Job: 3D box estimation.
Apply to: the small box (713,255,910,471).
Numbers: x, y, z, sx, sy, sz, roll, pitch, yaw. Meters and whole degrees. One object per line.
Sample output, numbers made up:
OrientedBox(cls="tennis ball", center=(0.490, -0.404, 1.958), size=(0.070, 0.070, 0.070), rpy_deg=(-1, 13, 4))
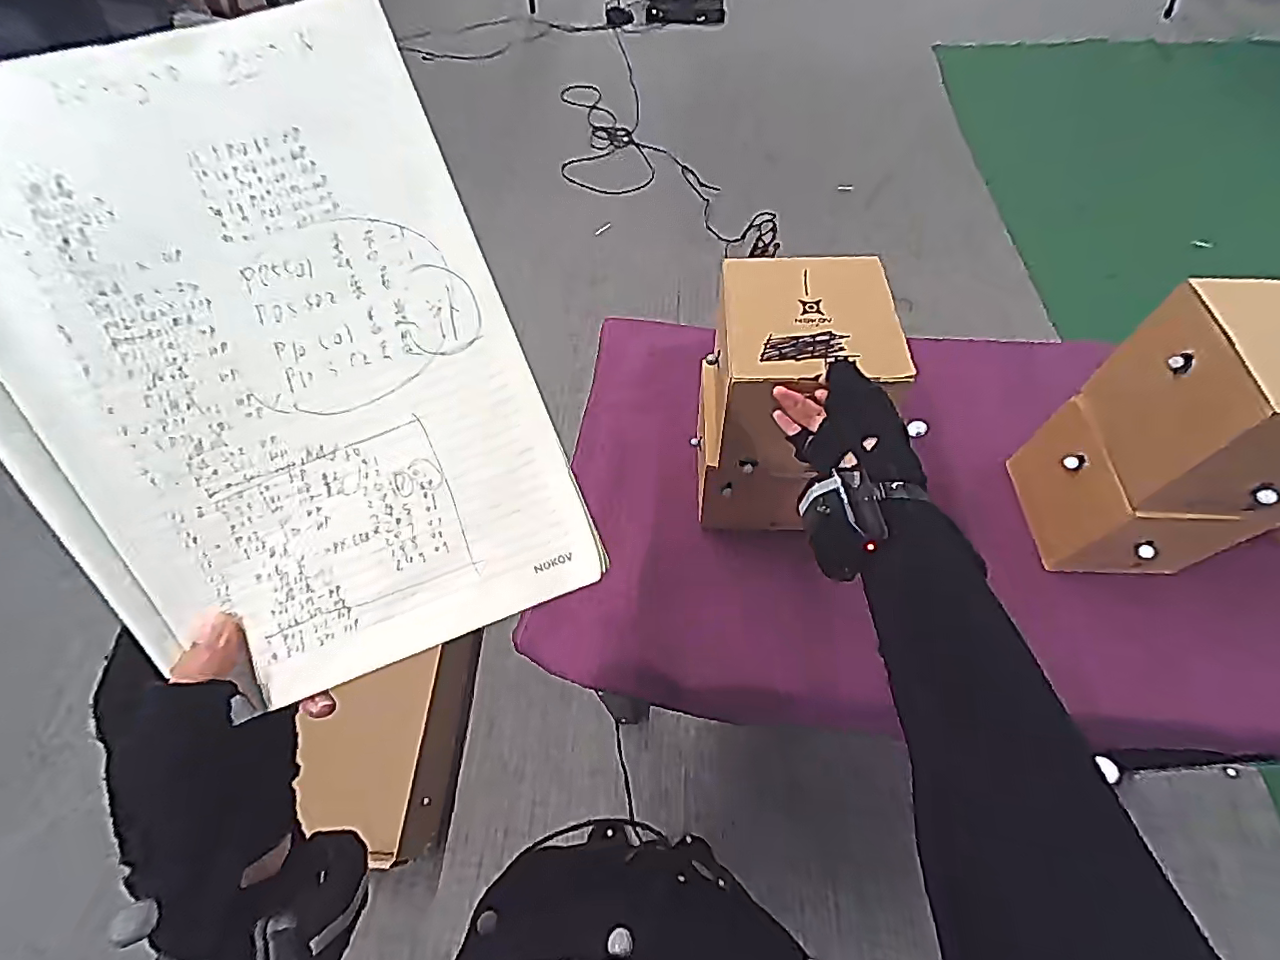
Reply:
OrientedBox(cls="small box", center=(0.171, -0.122, 0.600), size=(0.168, 0.176, 0.179), rpy_deg=(1, 57, 3))

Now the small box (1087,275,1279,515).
OrientedBox(cls="small box", center=(0.617, -0.084, 0.555), size=(0.168, 0.176, 0.179), rpy_deg=(3, 59, 5))

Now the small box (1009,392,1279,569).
OrientedBox(cls="small box", center=(0.621, 0.006, 0.695), size=(0.168, 0.176, 0.179), rpy_deg=(0, 59, 4))
